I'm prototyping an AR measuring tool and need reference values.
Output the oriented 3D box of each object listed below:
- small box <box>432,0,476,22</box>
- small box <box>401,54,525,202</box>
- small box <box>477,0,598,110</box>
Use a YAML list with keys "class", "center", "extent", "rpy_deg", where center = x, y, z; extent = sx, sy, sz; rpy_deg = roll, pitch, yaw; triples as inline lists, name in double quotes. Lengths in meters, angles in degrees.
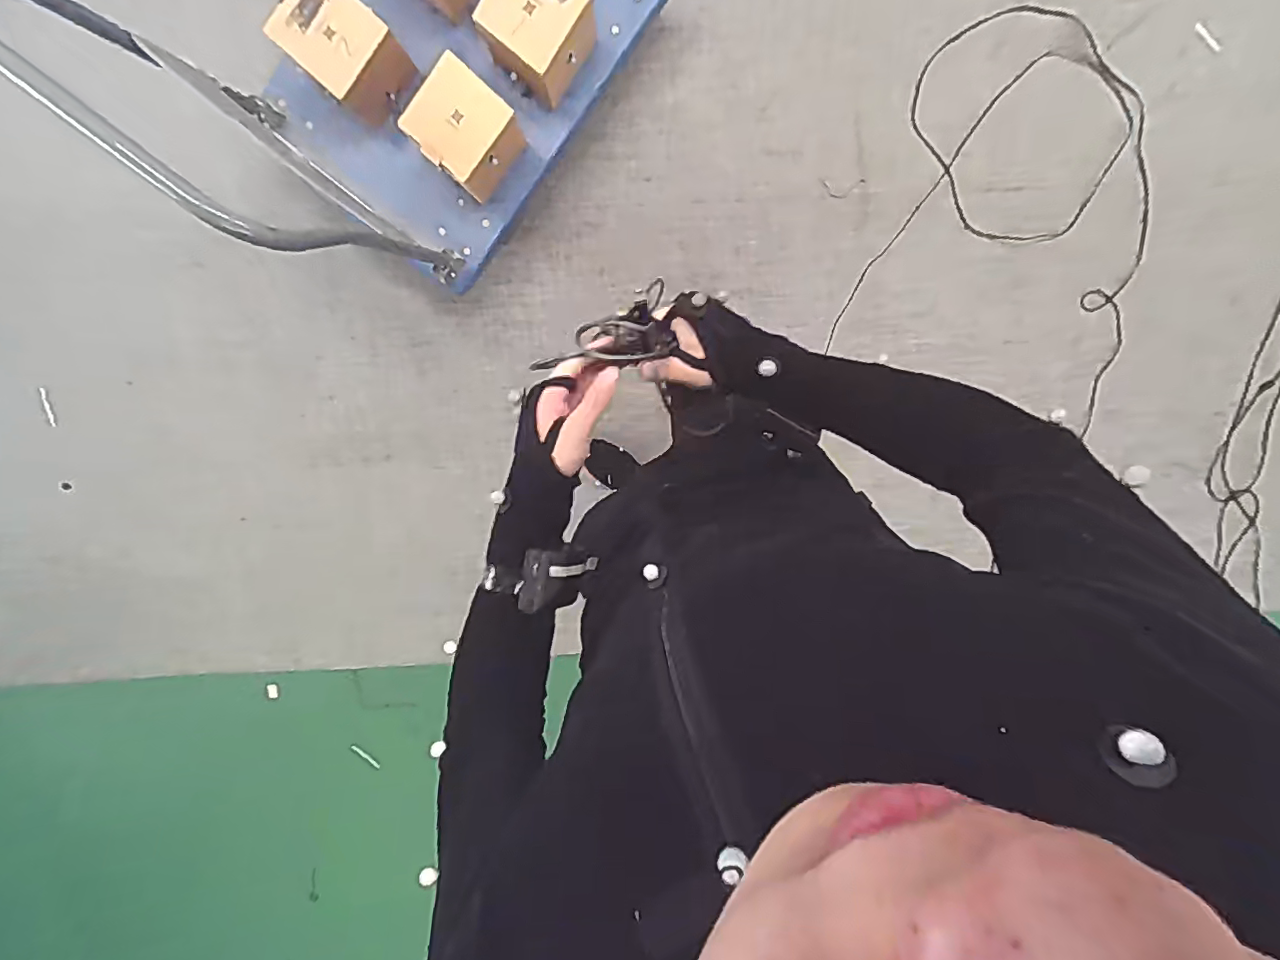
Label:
- class: "small box"
  center: [-0.398, -1.069, 1.060]
  extent: [0.168, 0.176, 0.179]
  rpy_deg: [34, 101, -10]
- class: "small box"
  center: [-0.362, -0.733, 1.149]
  extent: [0.168, 0.176, 0.179]
  rpy_deg: [40, 101, -11]
- class: "small box"
  center: [-0.199, -0.915, 1.104]
  extent: [0.168, 0.176, 0.179]
  rpy_deg: [37, 102, -9]
